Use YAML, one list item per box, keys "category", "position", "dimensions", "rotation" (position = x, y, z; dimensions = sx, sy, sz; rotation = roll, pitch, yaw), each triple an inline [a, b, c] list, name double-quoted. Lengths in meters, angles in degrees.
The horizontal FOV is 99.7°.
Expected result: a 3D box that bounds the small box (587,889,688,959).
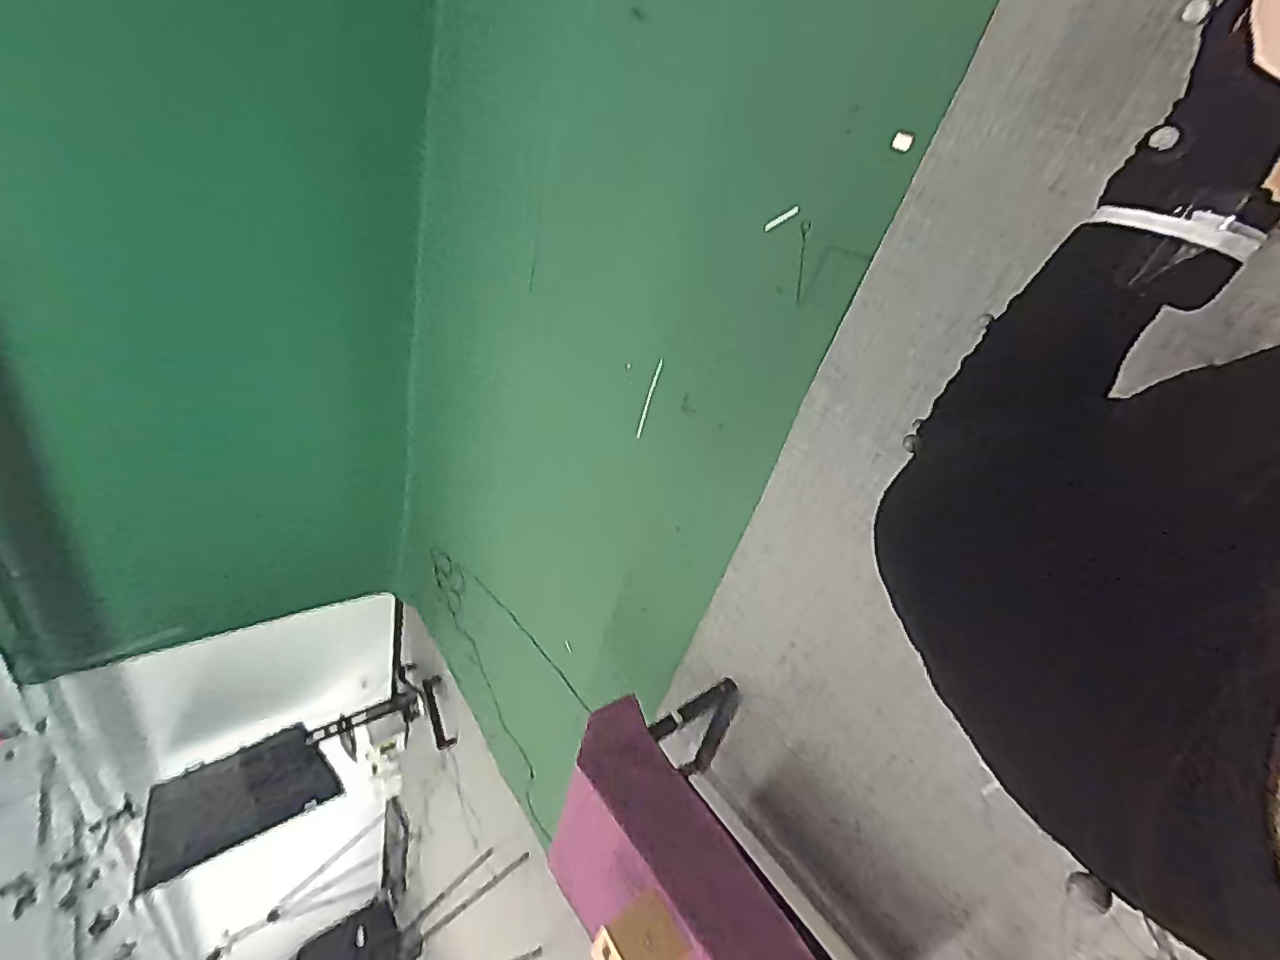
- category: "small box"
  position: [-0.008, 1.213, 1.402]
  dimensions: [0.179, 0.176, 0.168]
  rotation: [42, 128, 34]
